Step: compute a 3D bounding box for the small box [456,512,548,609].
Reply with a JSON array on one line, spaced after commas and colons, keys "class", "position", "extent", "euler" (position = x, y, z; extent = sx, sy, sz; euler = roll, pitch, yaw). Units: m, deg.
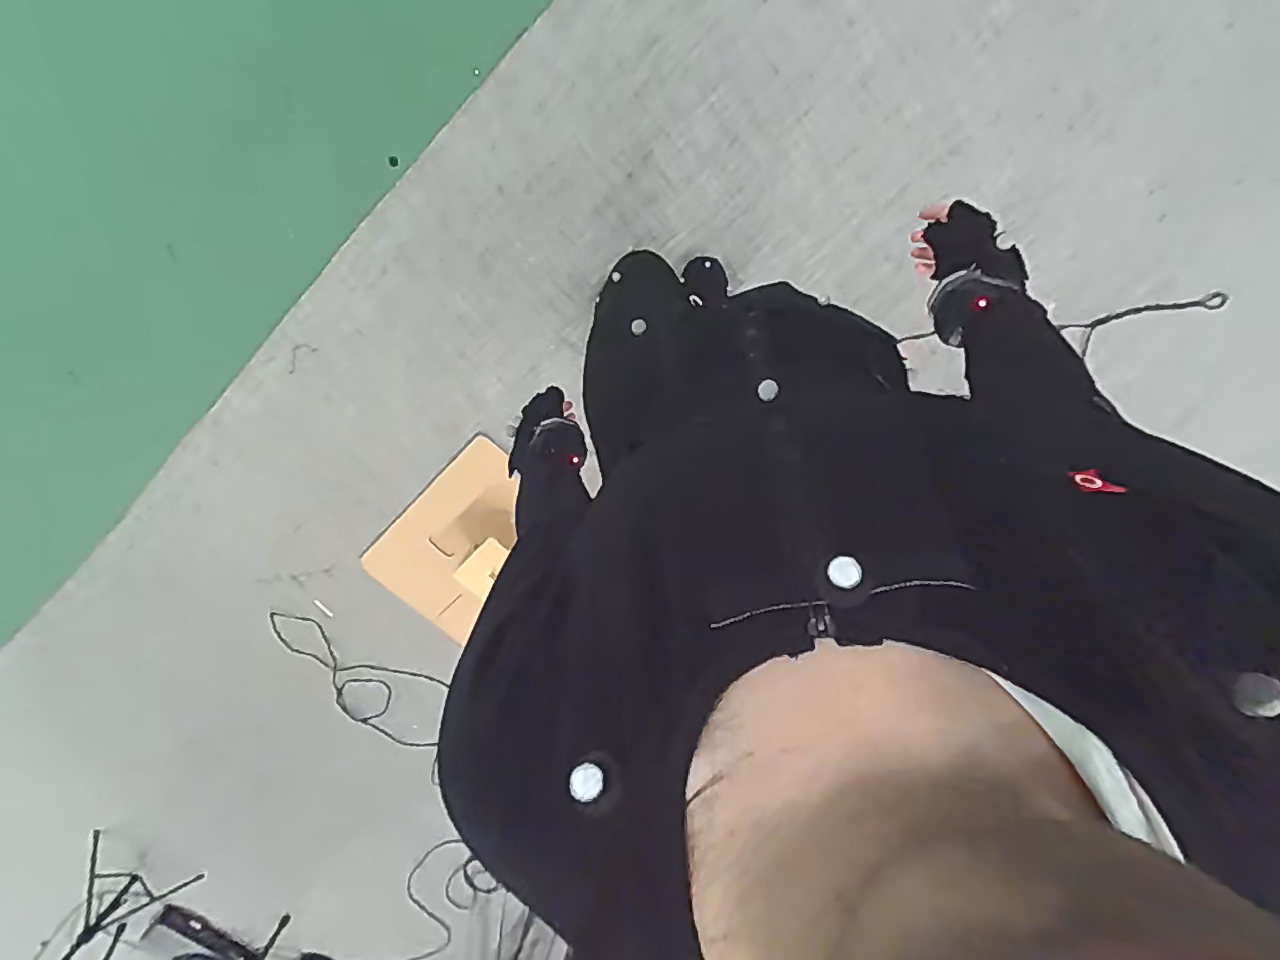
[{"class": "small box", "position": [-0.384, 0.225, 1.544], "extent": [0.168, 0.176, 0.179], "euler": [43, 106, -13]}]
